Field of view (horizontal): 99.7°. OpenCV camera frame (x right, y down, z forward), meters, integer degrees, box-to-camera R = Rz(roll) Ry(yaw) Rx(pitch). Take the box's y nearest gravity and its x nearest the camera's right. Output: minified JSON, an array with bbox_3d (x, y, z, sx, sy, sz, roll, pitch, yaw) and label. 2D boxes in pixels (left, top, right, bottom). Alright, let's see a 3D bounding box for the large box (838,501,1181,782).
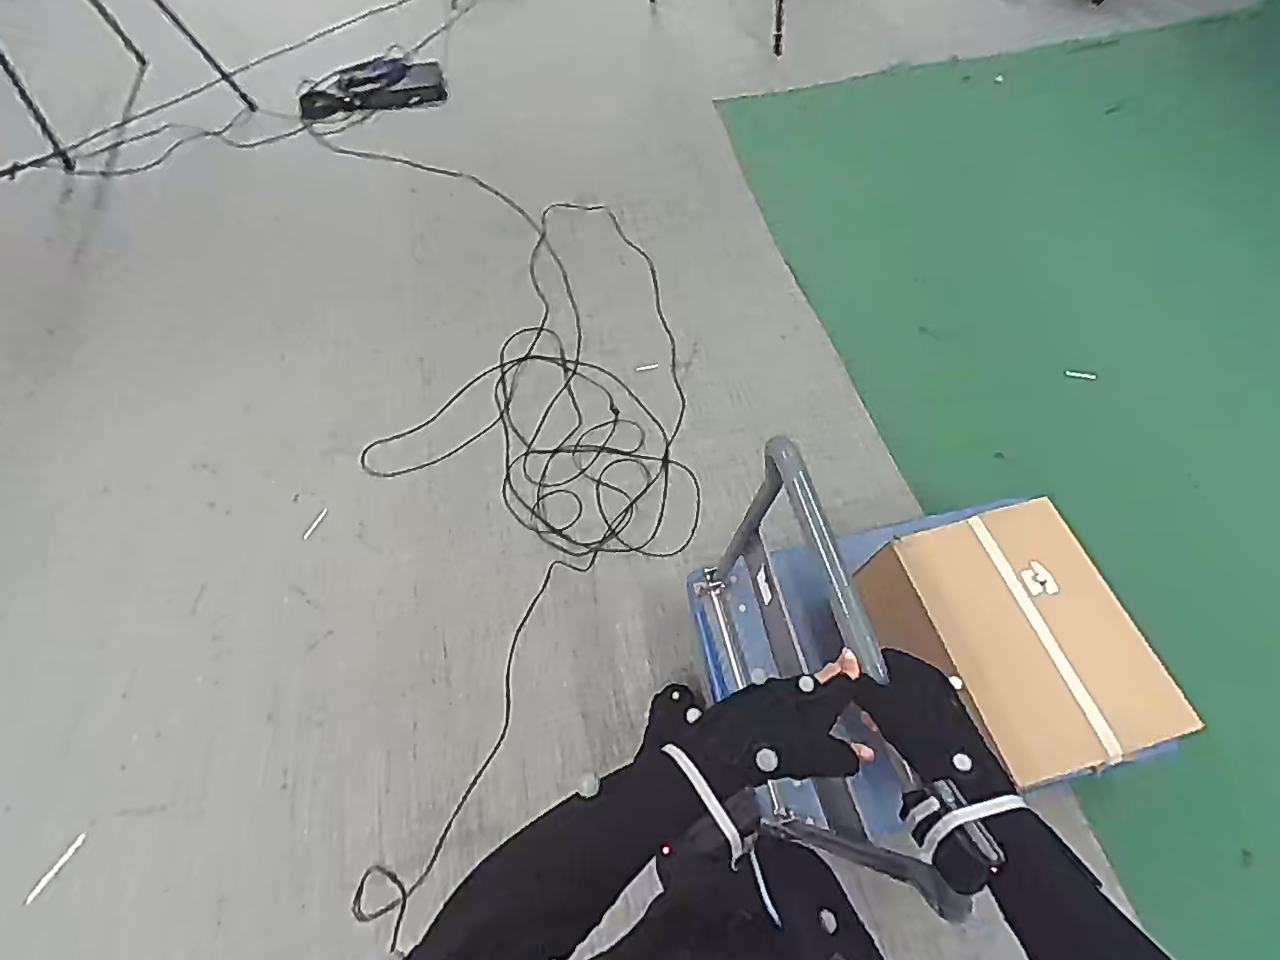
[{"bbox_3d":[0.641,0.312,1.036,0.320,0.320,0.408,-14,62,-6],"label":"large box"}]
